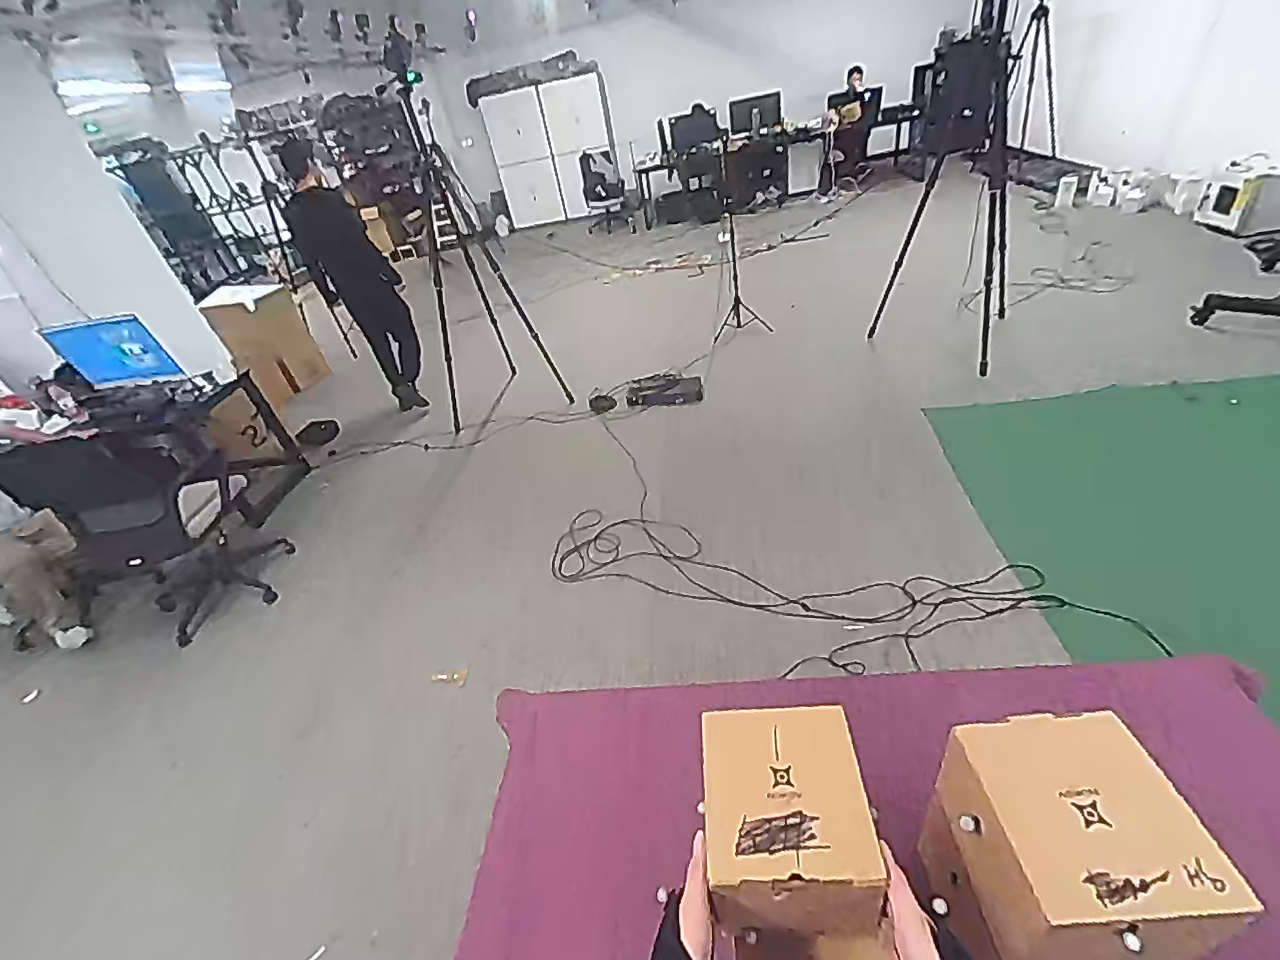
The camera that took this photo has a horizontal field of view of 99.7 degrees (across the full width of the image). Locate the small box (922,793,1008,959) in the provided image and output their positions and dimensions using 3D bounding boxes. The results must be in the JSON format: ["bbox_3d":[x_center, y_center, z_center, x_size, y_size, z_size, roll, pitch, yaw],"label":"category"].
[{"bbox_3d":[0.459,0.498,0.644,0.168,0.176,0.179,-8,36,7],"label":"small box"}]

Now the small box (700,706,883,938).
[{"bbox_3d":[0.160,0.383,0.607,0.168,0.176,0.179,-6,35,8],"label":"small box"}]

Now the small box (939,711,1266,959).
[{"bbox_3d":[0.430,0.366,0.549,0.168,0.176,0.179,-9,35,6],"label":"small box"}]
